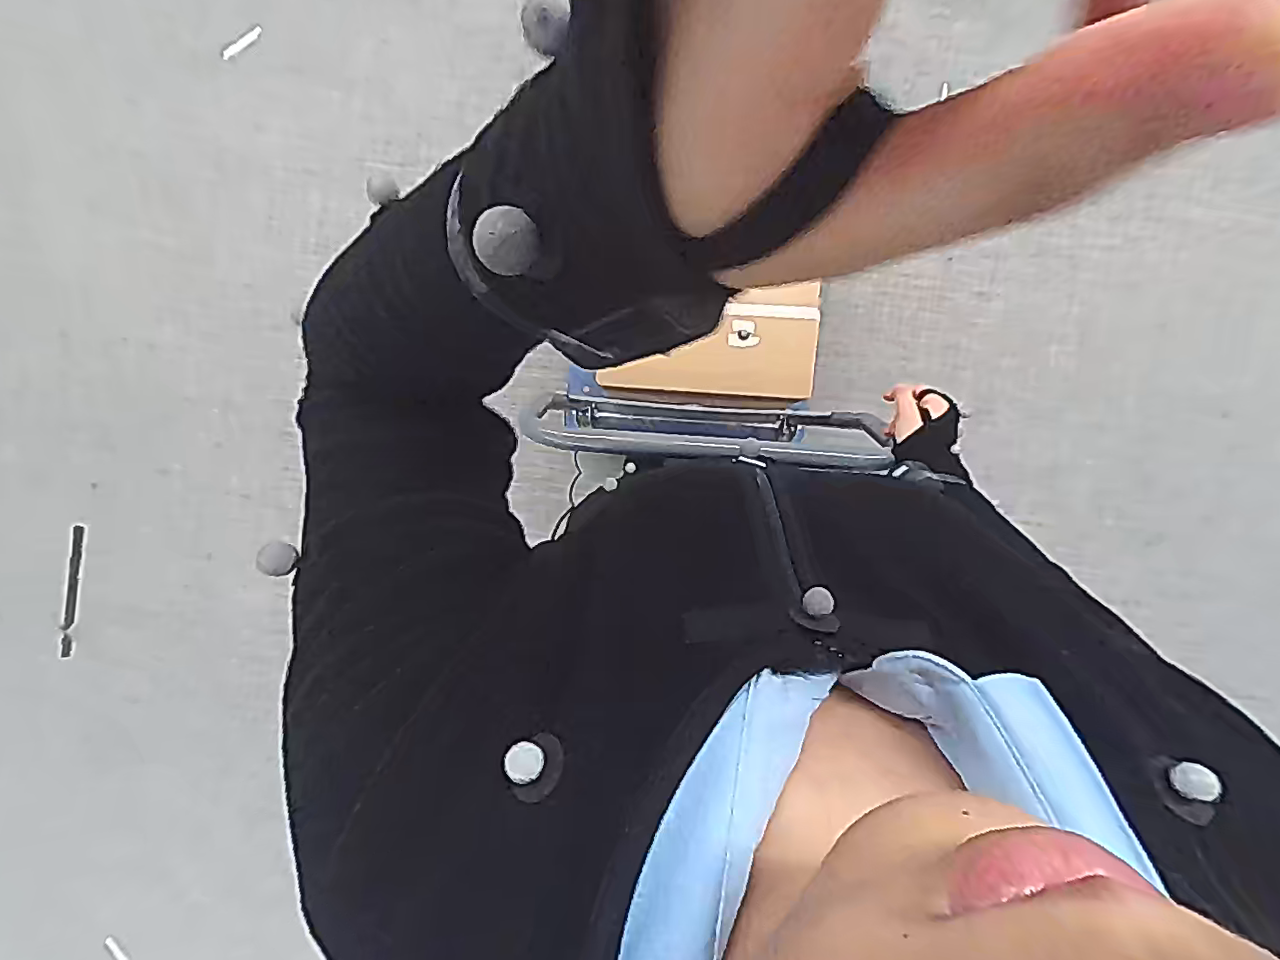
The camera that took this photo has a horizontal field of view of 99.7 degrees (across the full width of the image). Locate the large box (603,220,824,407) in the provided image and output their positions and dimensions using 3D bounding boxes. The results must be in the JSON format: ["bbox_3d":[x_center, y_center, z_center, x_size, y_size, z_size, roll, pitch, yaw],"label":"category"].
[{"bbox_3d":[0.135,-0.329,1.158,0.408,0.320,0.320,4,95,1],"label":"large box"}]
